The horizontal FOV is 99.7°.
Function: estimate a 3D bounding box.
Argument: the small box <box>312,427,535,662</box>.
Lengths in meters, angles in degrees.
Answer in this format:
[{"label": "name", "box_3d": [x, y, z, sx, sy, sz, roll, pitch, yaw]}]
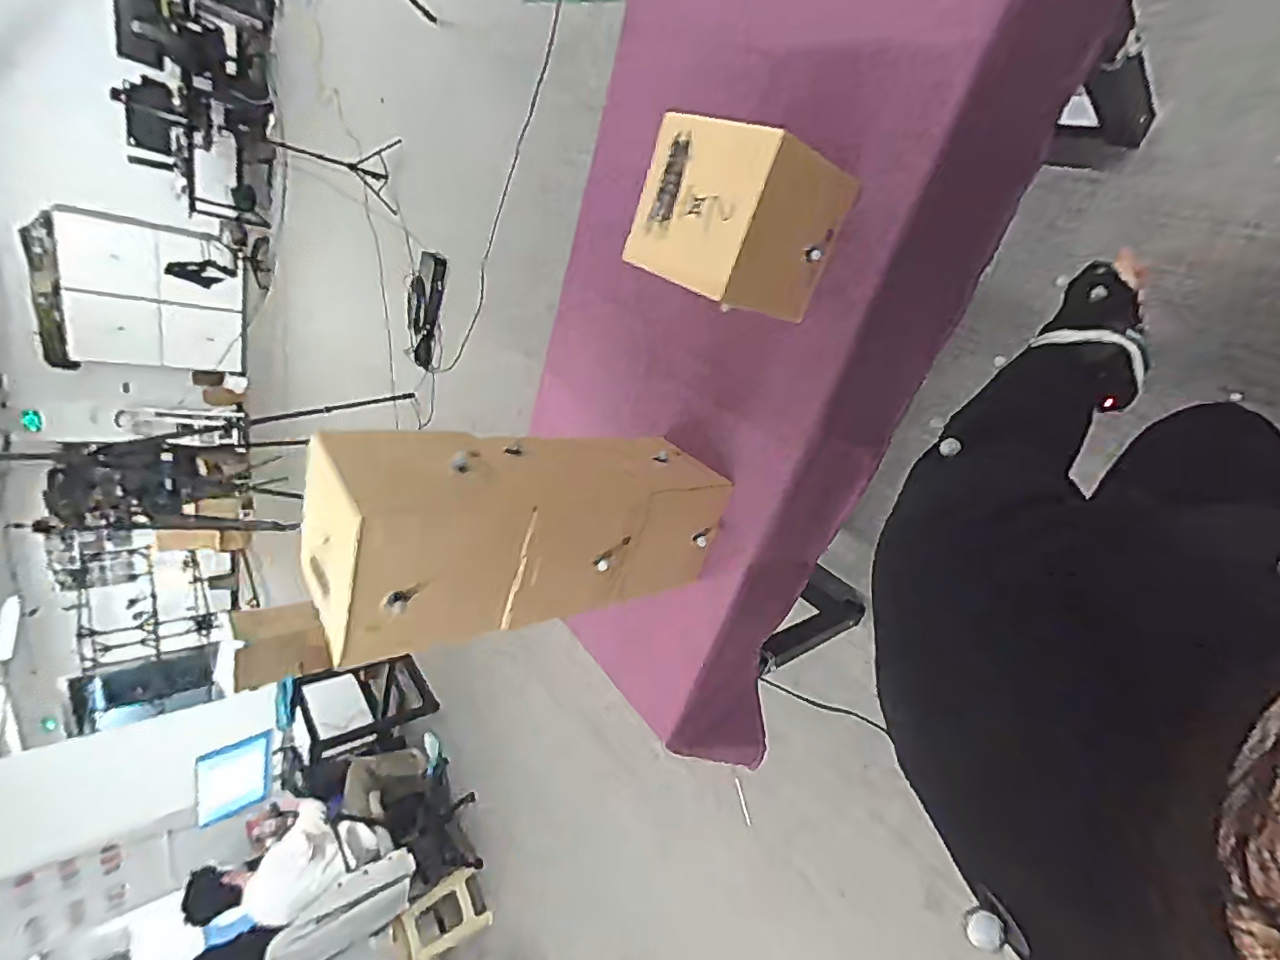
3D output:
[{"label": "small box", "box_3d": [-0.234, 0.057, 0.581, 0.168, 0.176, 0.179, 40, 120, 37]}]

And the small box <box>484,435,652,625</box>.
[{"label": "small box", "box_3d": [-0.116, 0.053, 0.695, 0.179, 0.176, 0.168, 38, 120, 38]}]

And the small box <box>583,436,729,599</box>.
[{"label": "small box", "box_3d": [0.007, 0.046, 0.806, 0.168, 0.176, 0.179, 36, 118, 39]}]
